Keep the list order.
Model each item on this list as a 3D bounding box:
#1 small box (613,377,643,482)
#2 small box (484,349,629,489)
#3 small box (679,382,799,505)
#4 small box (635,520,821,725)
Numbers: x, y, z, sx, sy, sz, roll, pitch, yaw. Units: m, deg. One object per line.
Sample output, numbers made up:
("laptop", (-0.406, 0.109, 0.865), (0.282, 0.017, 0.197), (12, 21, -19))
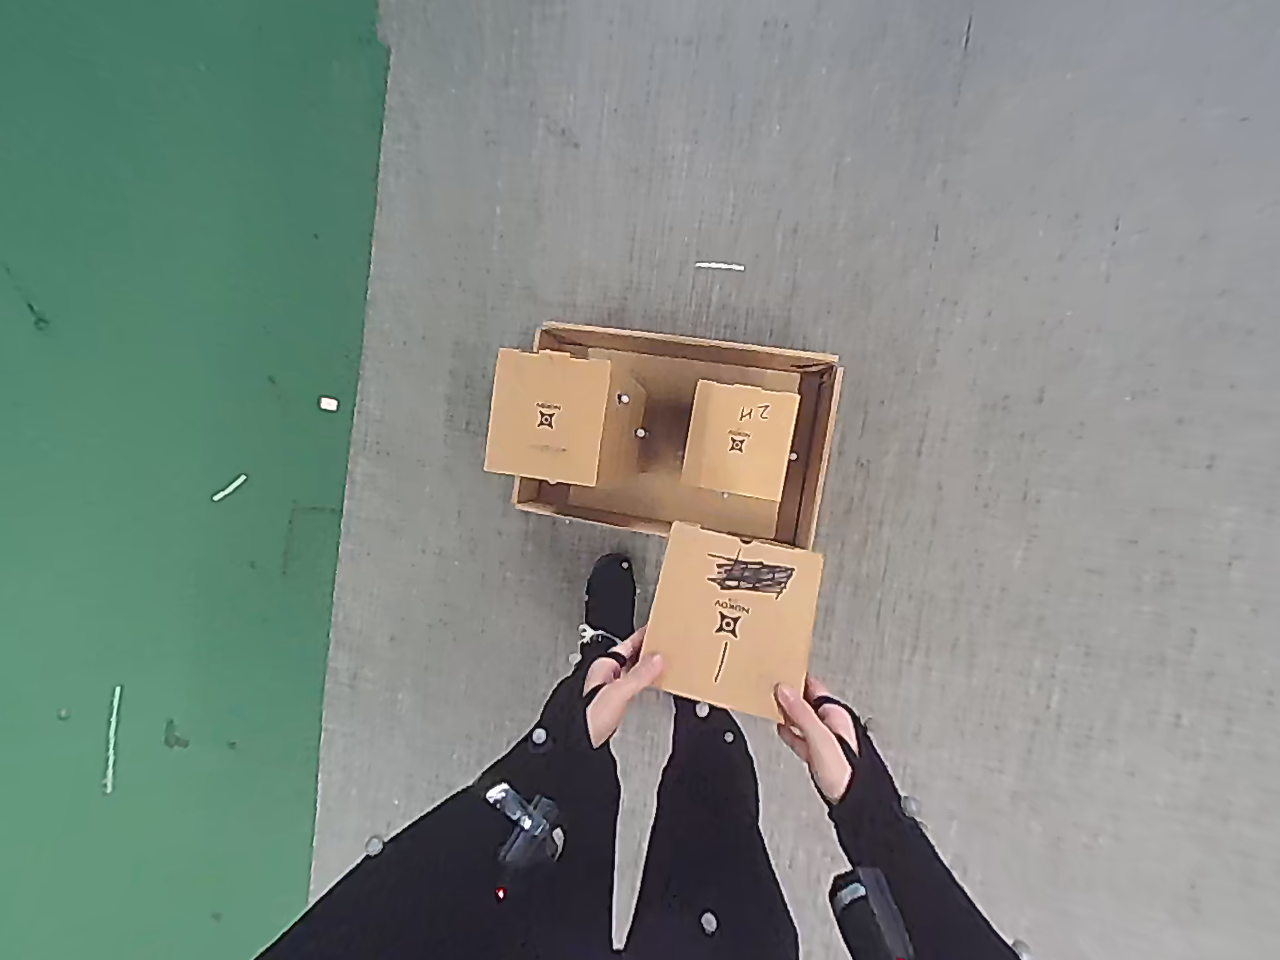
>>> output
("small box", (-0.094, -0.096, 0.986), (0.168, 0.176, 0.179), (9, 93, 9))
("small box", (-0.117, -0.089, 0.825), (0.168, 0.176, 0.179), (9, 95, 8))
("small box", (0.172, -0.063, 0.947), (0.168, 0.176, 0.179), (11, 93, 9))
("small box", (0.099, 0.168, 0.636), (0.168, 0.176, 0.179), (12, 72, 10))
